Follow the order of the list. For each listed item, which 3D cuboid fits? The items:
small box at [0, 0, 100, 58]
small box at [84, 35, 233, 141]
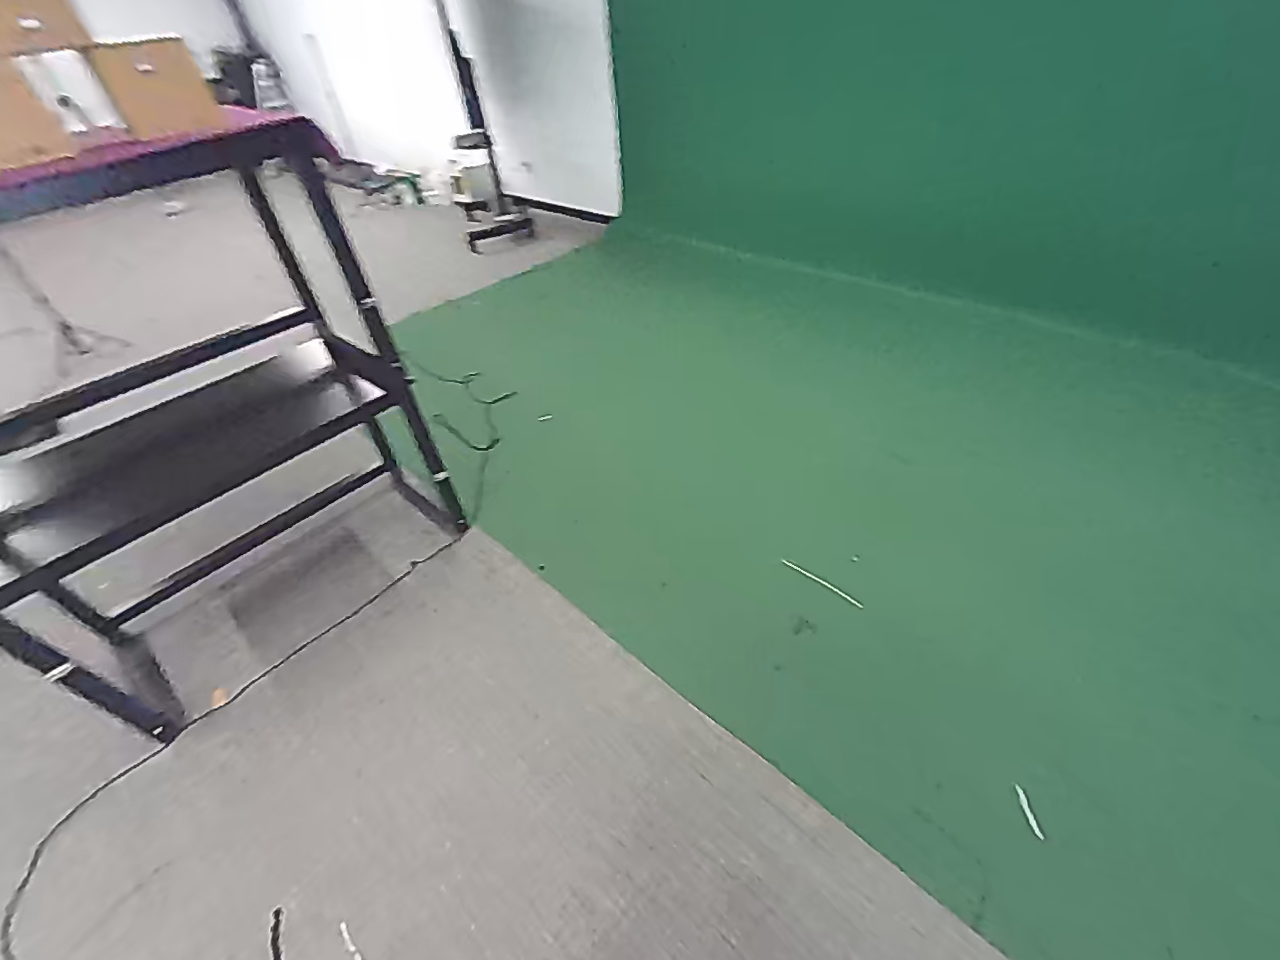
[{"bbox_3d":[-1.186,-0.919,1.028,0.168,0.176,0.179,30,52,34],"label":"small box"},{"bbox_3d":[-1.073,-0.877,1.213,0.168,0.176,0.179,29,52,33],"label":"small box"}]
